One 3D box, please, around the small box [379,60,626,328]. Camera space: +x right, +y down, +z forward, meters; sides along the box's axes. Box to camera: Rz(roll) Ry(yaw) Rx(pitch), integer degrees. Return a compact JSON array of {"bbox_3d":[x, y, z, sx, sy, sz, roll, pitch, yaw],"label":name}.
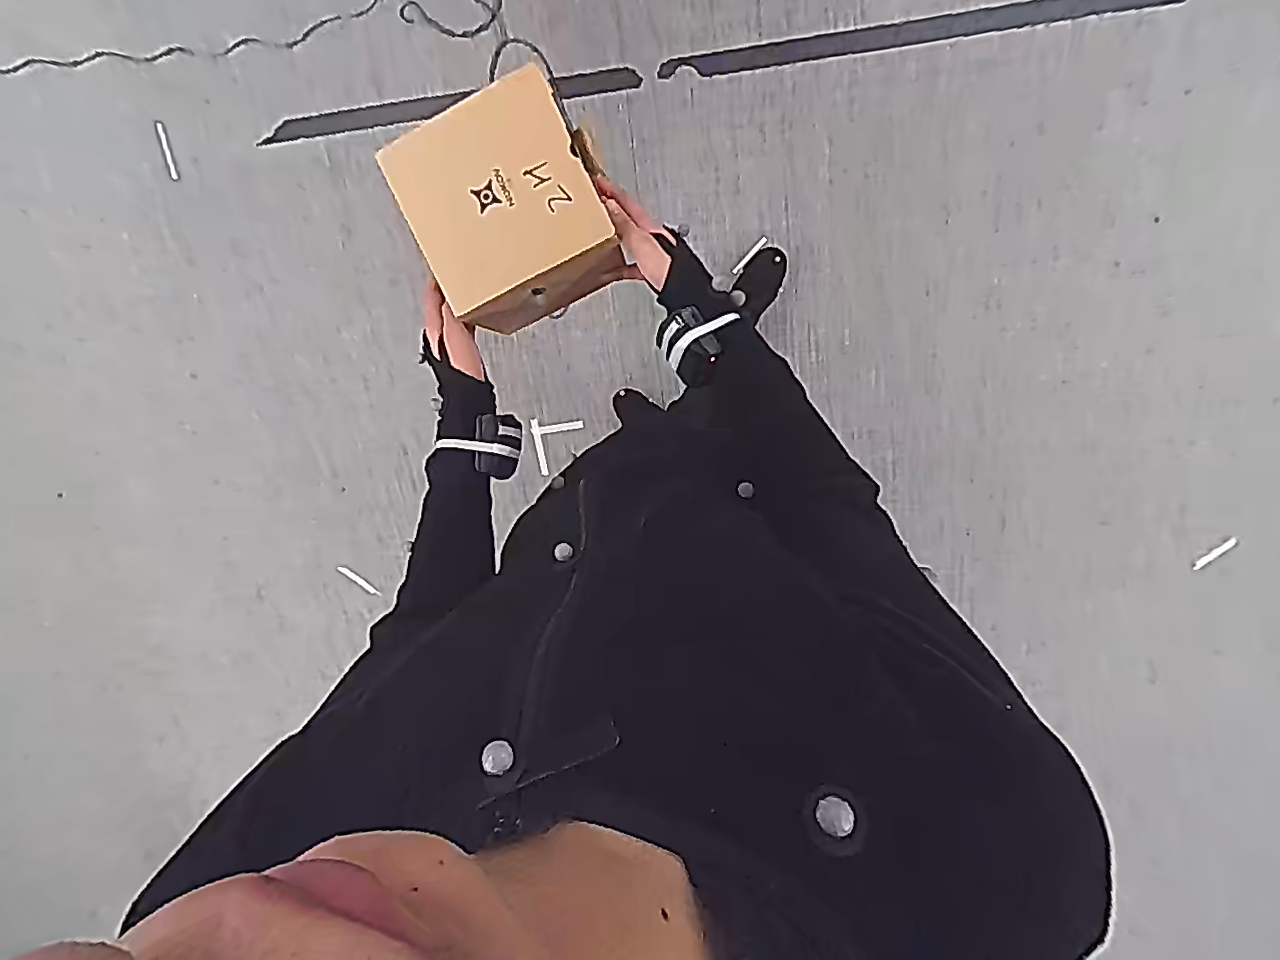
[{"bbox_3d":[-0.128,-0.279,0.579,0.179,0.176,0.168,-25,97,6],"label":"small box"}]
